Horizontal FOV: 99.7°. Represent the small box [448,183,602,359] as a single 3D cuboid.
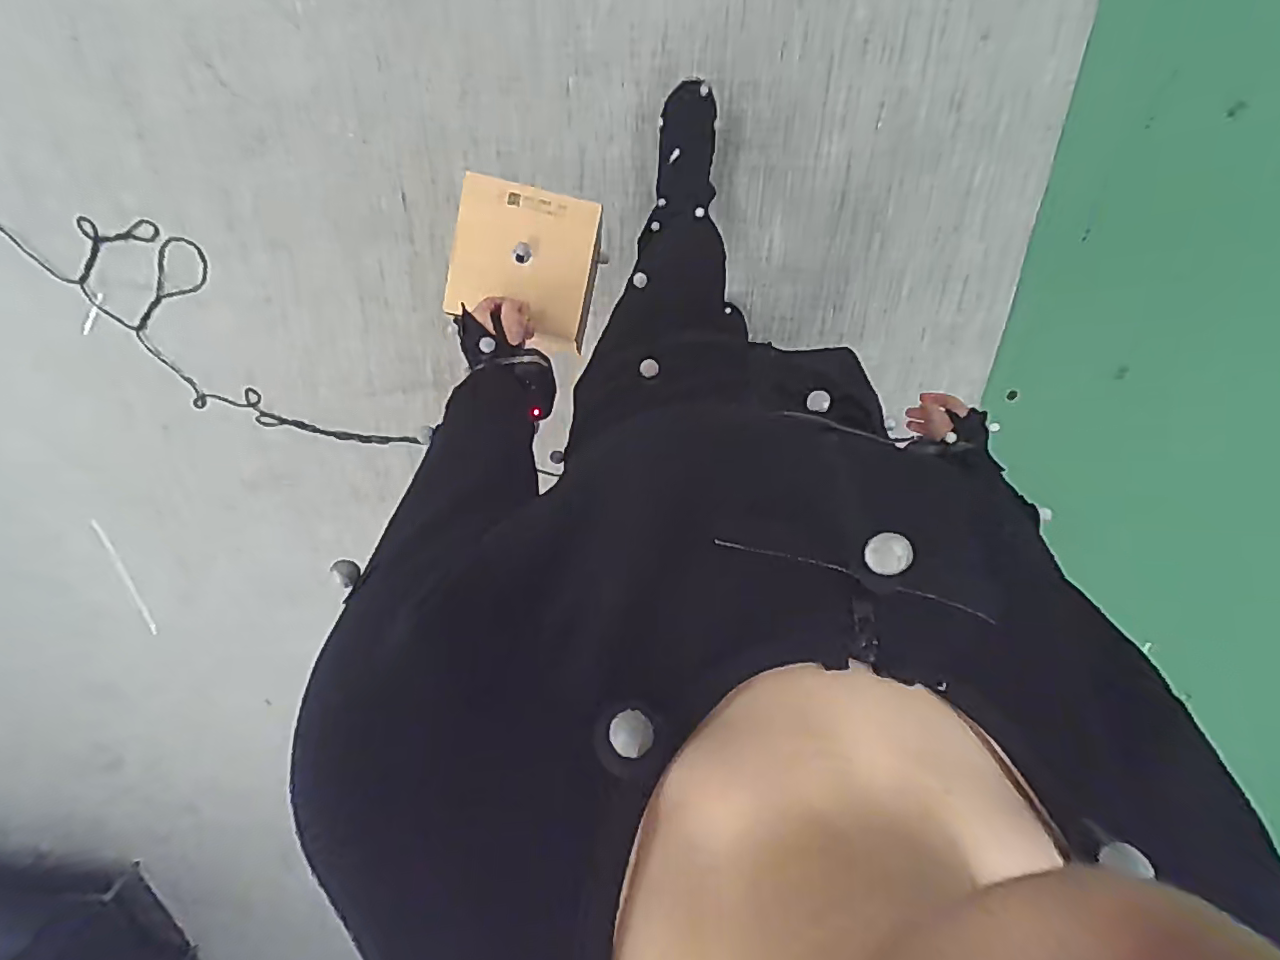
[{"bbox_3d":[-0.149,-0.274,0.737,0.168,0.179,0.176,10,94,-6],"label":"small box"}]
